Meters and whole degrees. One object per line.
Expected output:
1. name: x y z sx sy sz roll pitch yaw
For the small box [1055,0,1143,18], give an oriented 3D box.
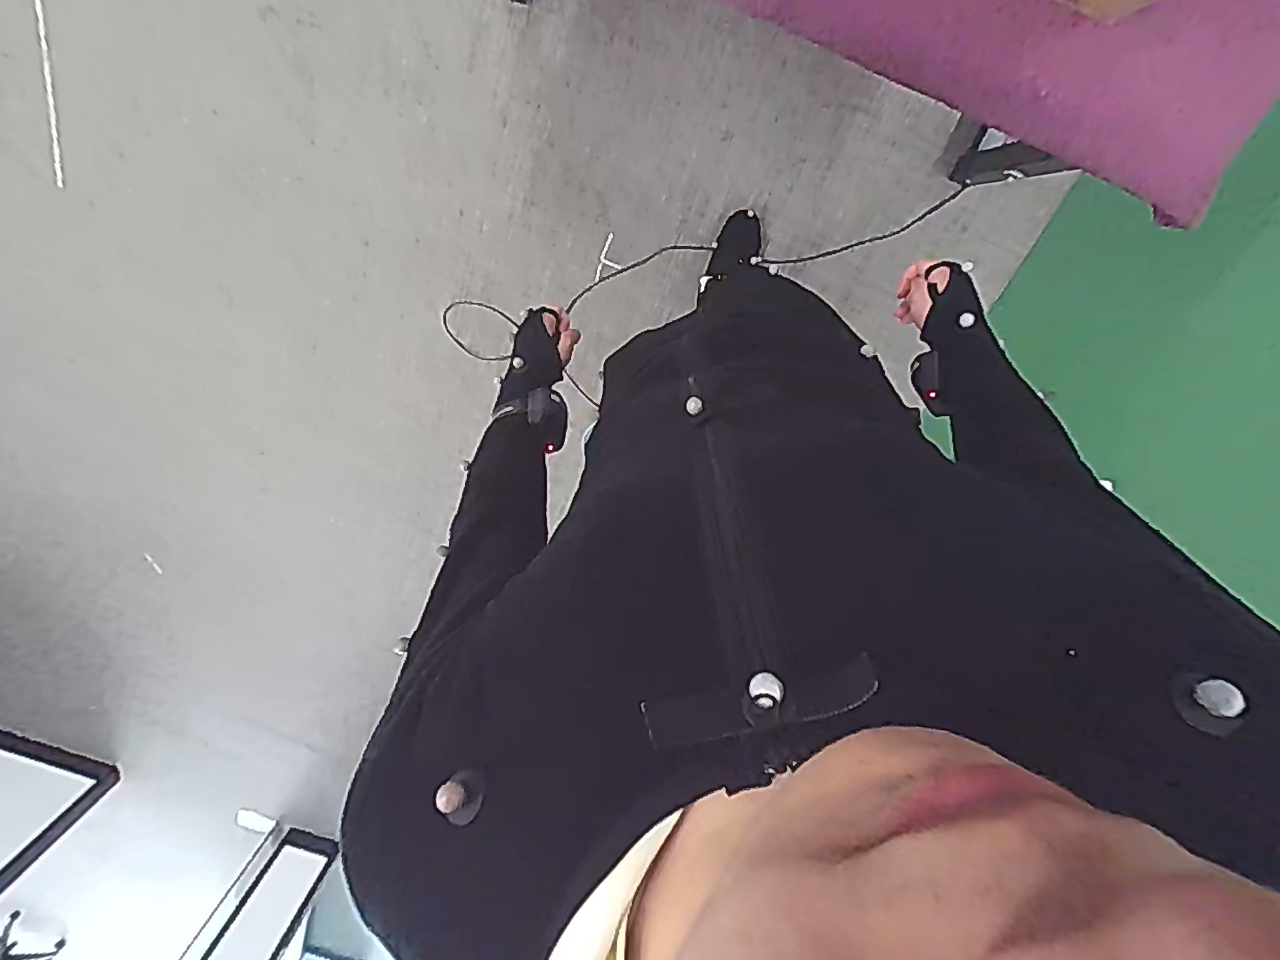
1. small box: 0.472 -0.583 0.495 0.168 0.176 0.179 21 115 -3
